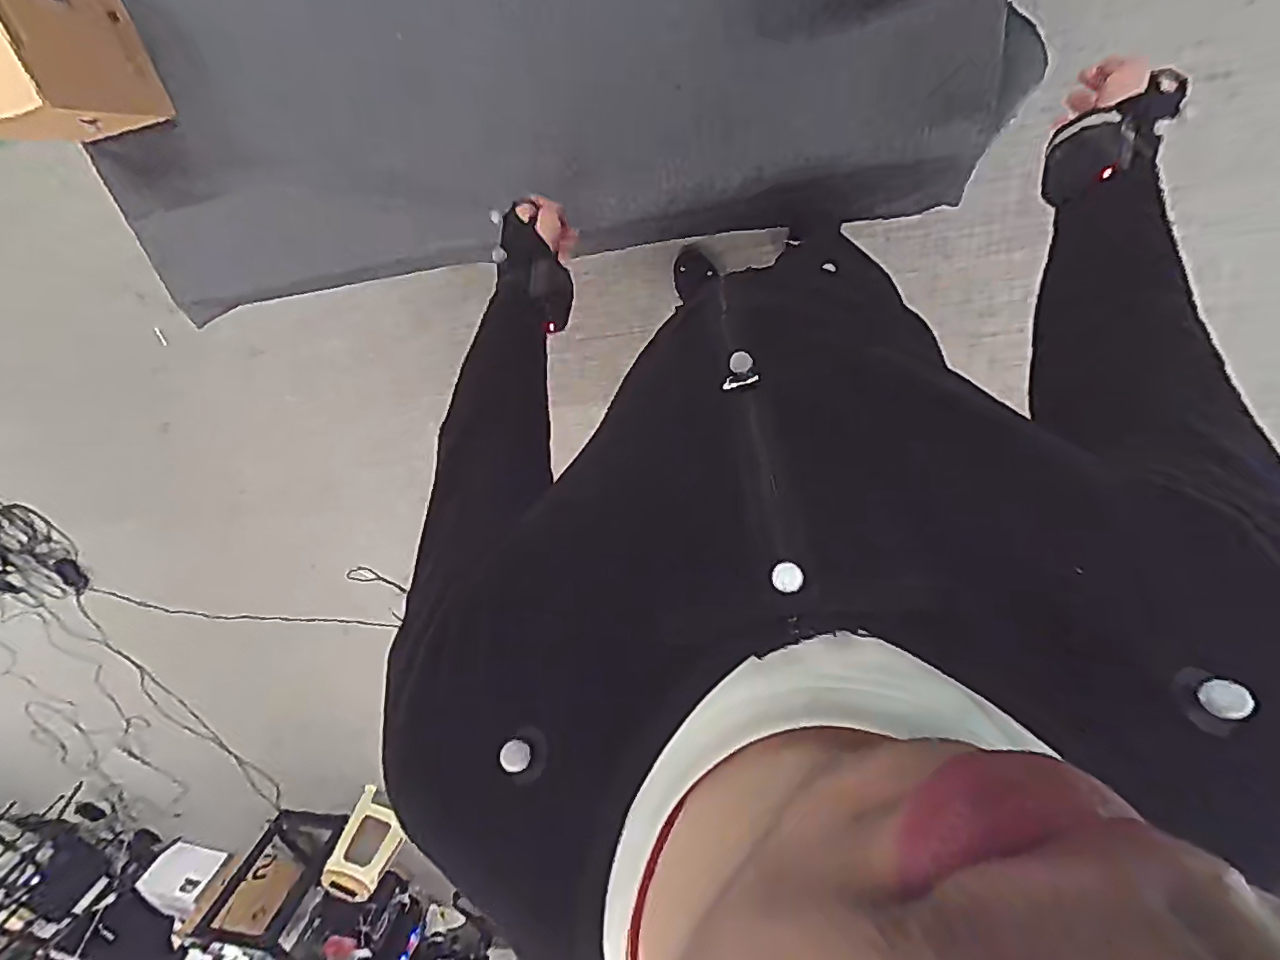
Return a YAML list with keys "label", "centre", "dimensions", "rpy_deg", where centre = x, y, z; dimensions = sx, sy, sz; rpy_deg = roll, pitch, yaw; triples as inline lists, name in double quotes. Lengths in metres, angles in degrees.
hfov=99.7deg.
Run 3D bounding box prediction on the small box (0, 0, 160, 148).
- label: "small box"
  centre: [-0.749, -0.515, 0.660]
  dimensions: [0.179, 0.176, 0.168]
  rpy_deg: [-1, 118, 13]
